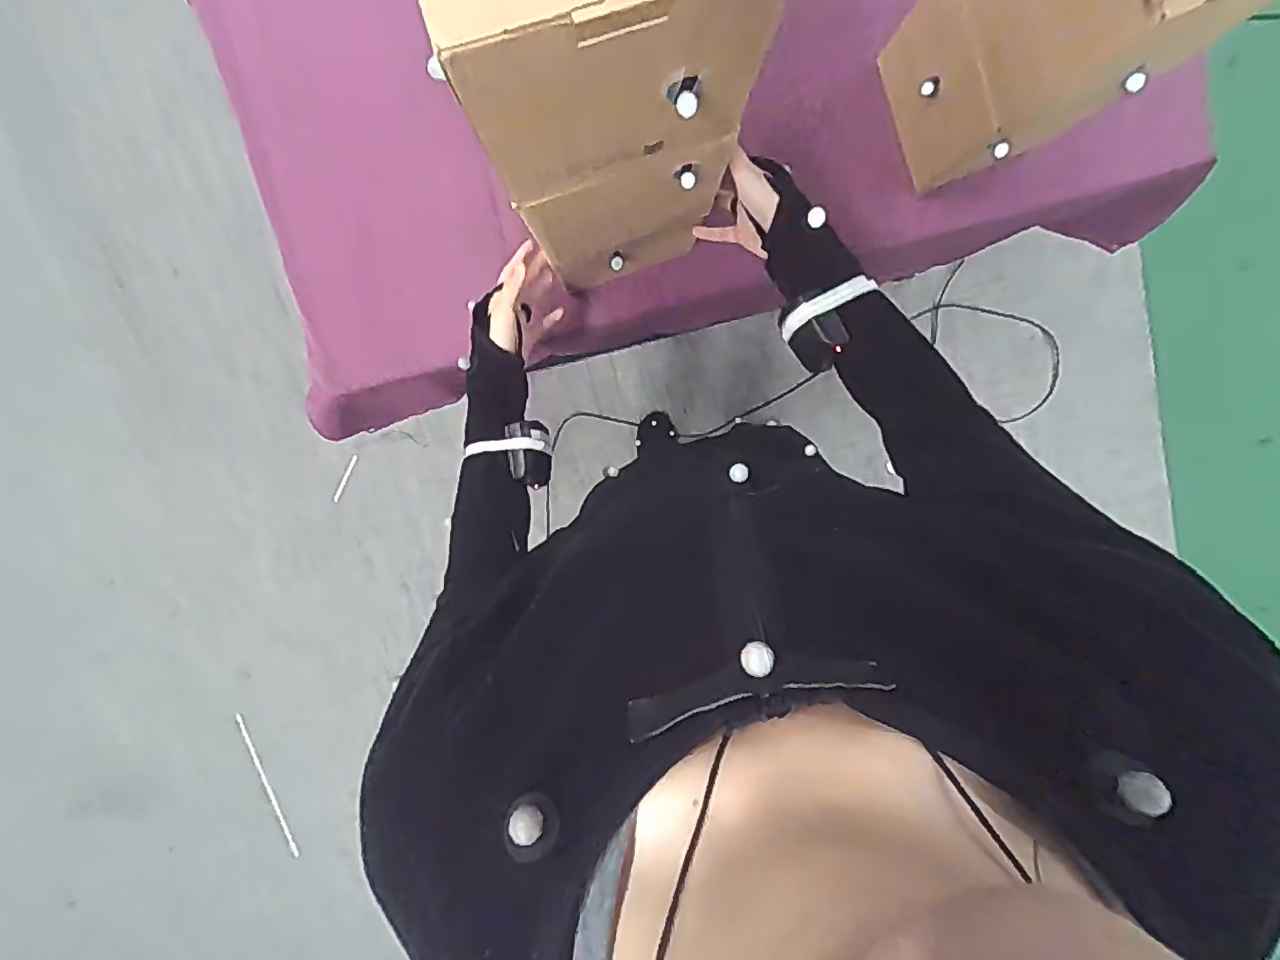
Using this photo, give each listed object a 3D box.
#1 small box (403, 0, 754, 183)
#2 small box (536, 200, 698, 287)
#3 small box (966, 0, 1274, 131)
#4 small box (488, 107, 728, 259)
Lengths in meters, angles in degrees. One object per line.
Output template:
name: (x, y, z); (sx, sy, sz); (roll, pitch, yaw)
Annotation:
small box: (-0.039, -0.293, 0.299); (0.168, 0.176, 0.179); (-15, 97, 0)
small box: (-0.044, -0.339, 0.621); (0.179, 0.176, 0.168); (-17, 98, 2)
small box: (0.403, -0.438, 0.444); (0.168, 0.176, 0.179); (-21, 97, 3)
small box: (-0.042, -0.311, 0.460); (0.179, 0.176, 0.168); (-18, 97, 1)
